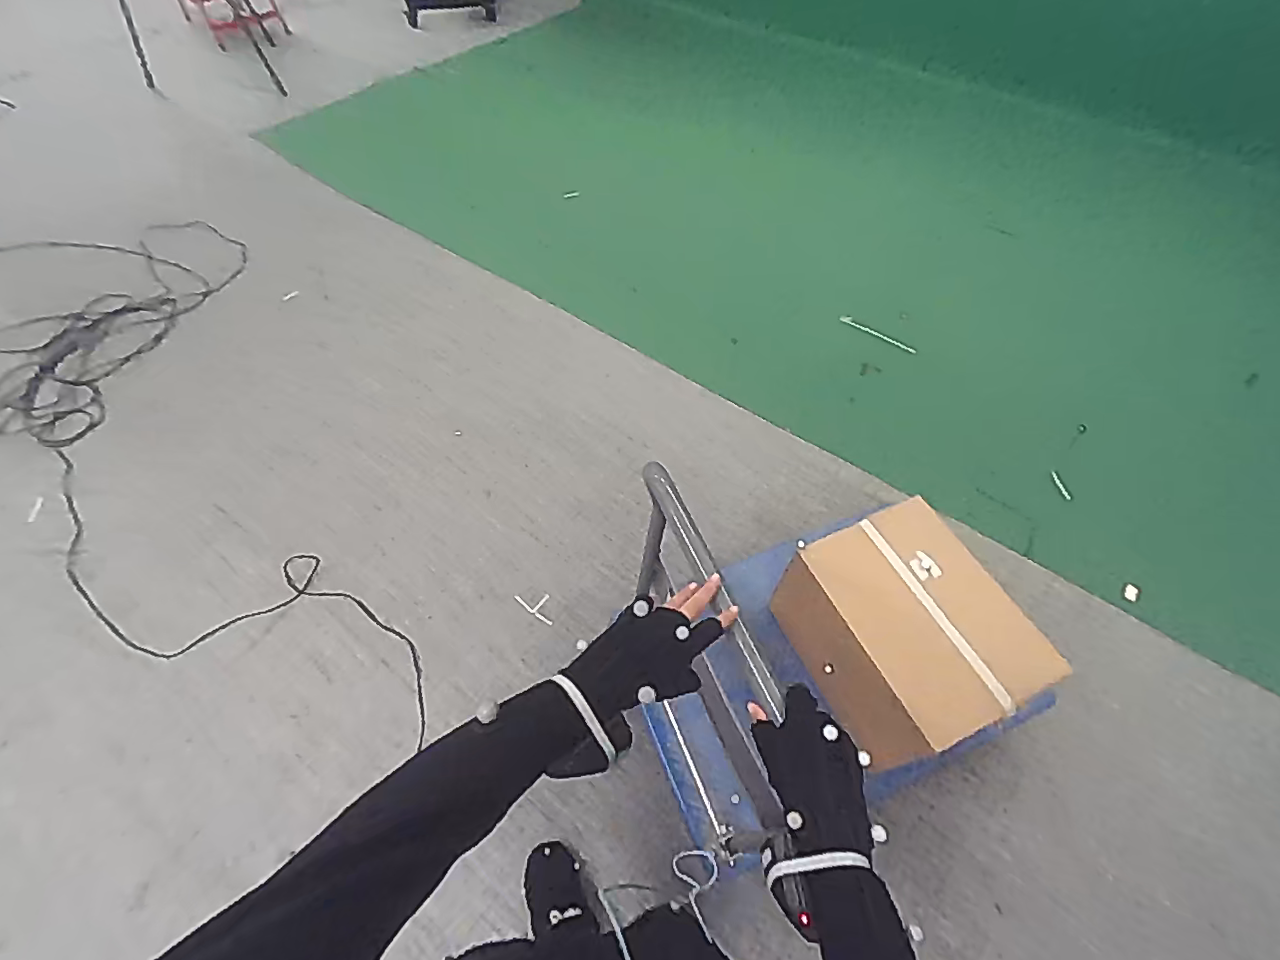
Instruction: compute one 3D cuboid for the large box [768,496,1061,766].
[{"bbox_3d":[0.530,0.316,1.142,0.320,0.320,0.408,-21,58,-14],"label":"large box"}]
